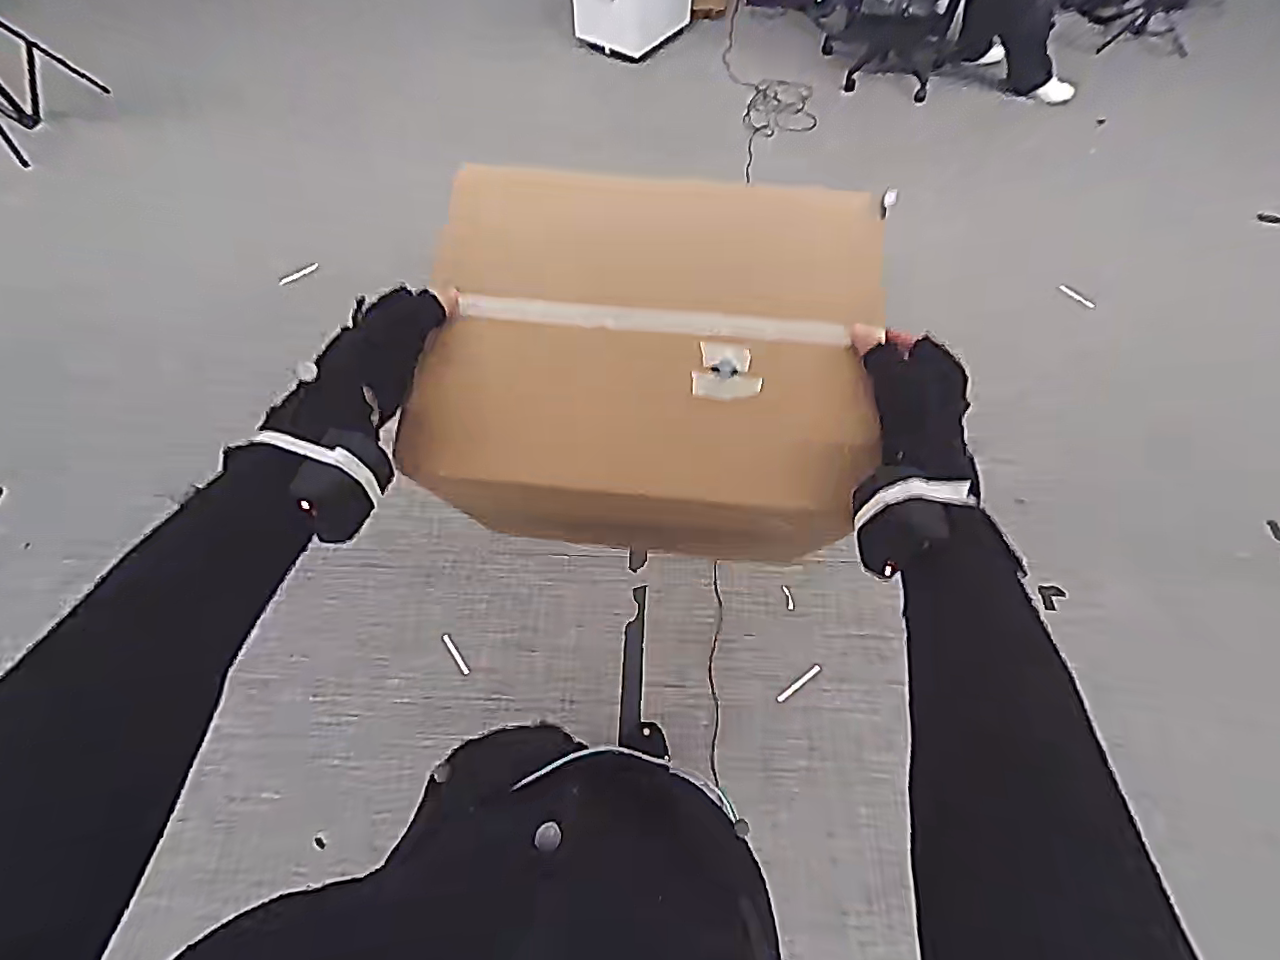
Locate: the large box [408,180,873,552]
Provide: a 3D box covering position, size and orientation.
[{"bbox_3d":[0.008,-0.101,0.638,0.408,0.320,0.320,5,75,1],"label":"large box"}]
